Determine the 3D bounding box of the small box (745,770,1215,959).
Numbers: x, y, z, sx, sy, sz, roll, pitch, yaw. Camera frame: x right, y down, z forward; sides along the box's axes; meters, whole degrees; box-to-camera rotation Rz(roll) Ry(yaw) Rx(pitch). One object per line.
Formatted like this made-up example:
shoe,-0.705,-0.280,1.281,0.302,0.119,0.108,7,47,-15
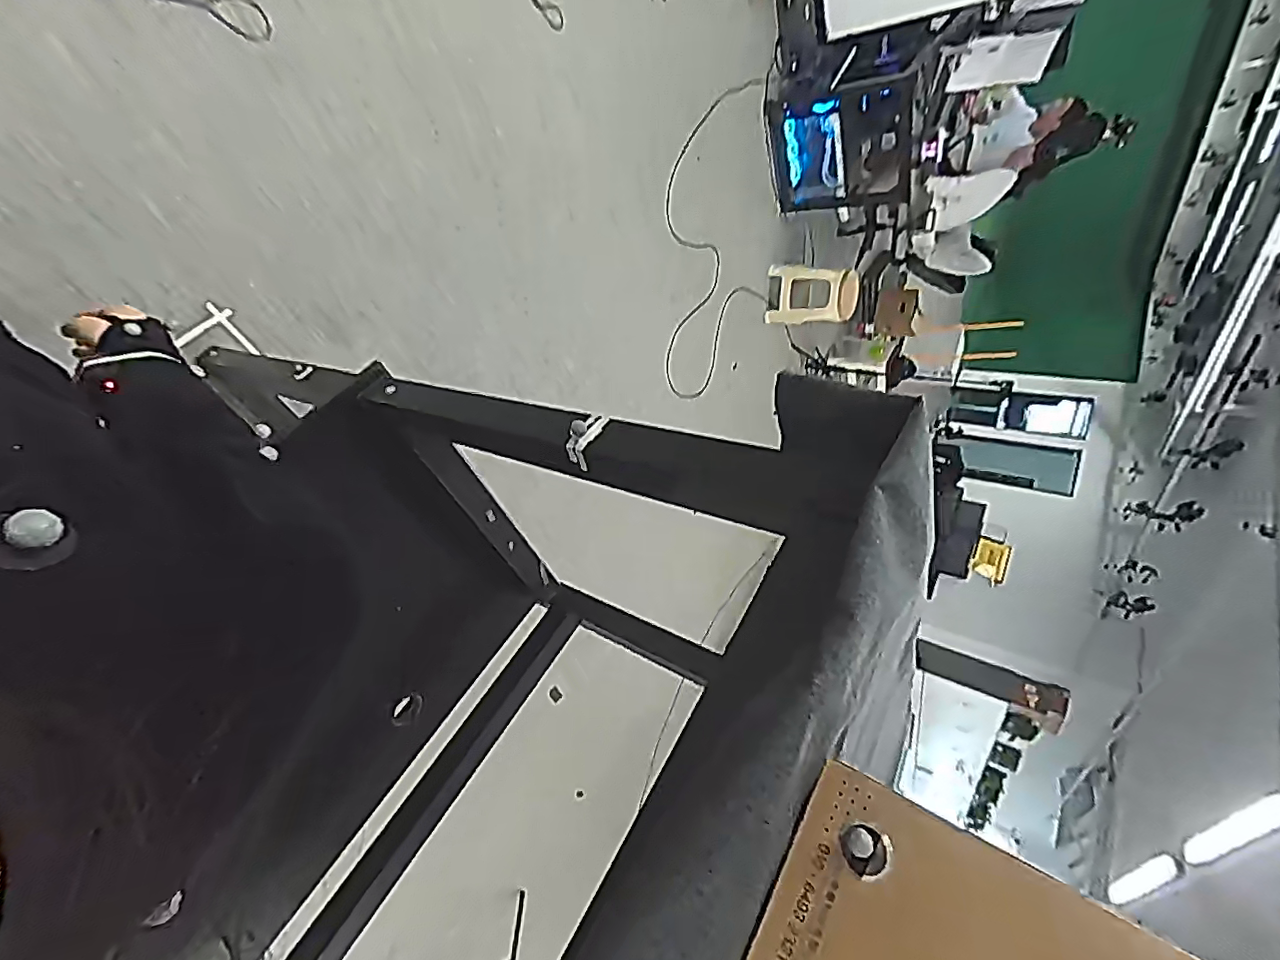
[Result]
small box,0.154,0.287,0.286,0.168,0.176,0.179,-54,142,-25
